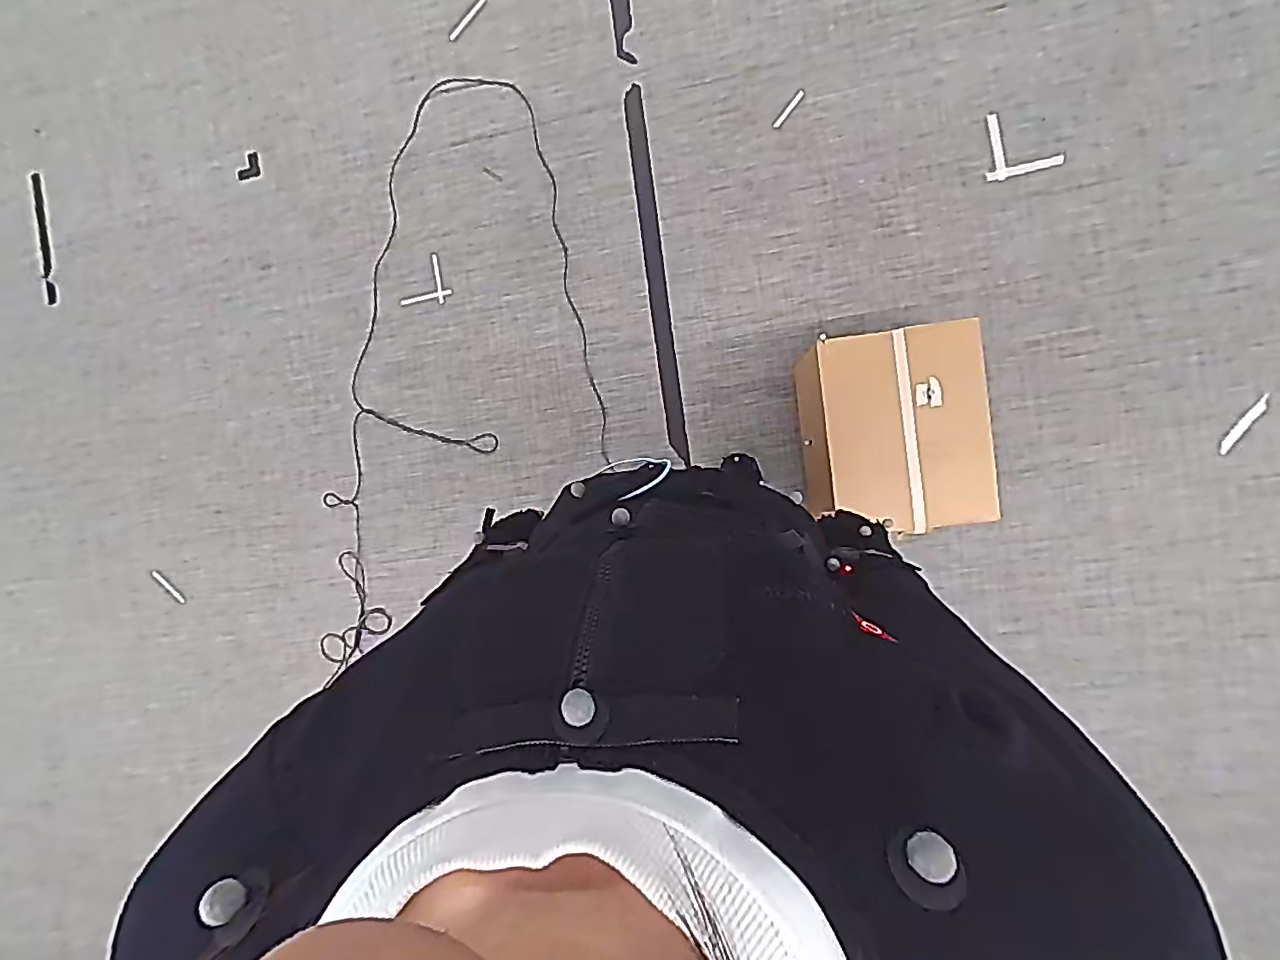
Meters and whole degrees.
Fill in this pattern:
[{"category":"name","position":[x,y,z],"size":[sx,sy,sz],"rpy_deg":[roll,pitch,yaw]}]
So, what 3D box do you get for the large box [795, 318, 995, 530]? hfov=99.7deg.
[{"category":"large box","position":[0.556,-0.113,1.249],"size":[0.320,0.320,0.408],"rpy_deg":[-7,90,6]}]
